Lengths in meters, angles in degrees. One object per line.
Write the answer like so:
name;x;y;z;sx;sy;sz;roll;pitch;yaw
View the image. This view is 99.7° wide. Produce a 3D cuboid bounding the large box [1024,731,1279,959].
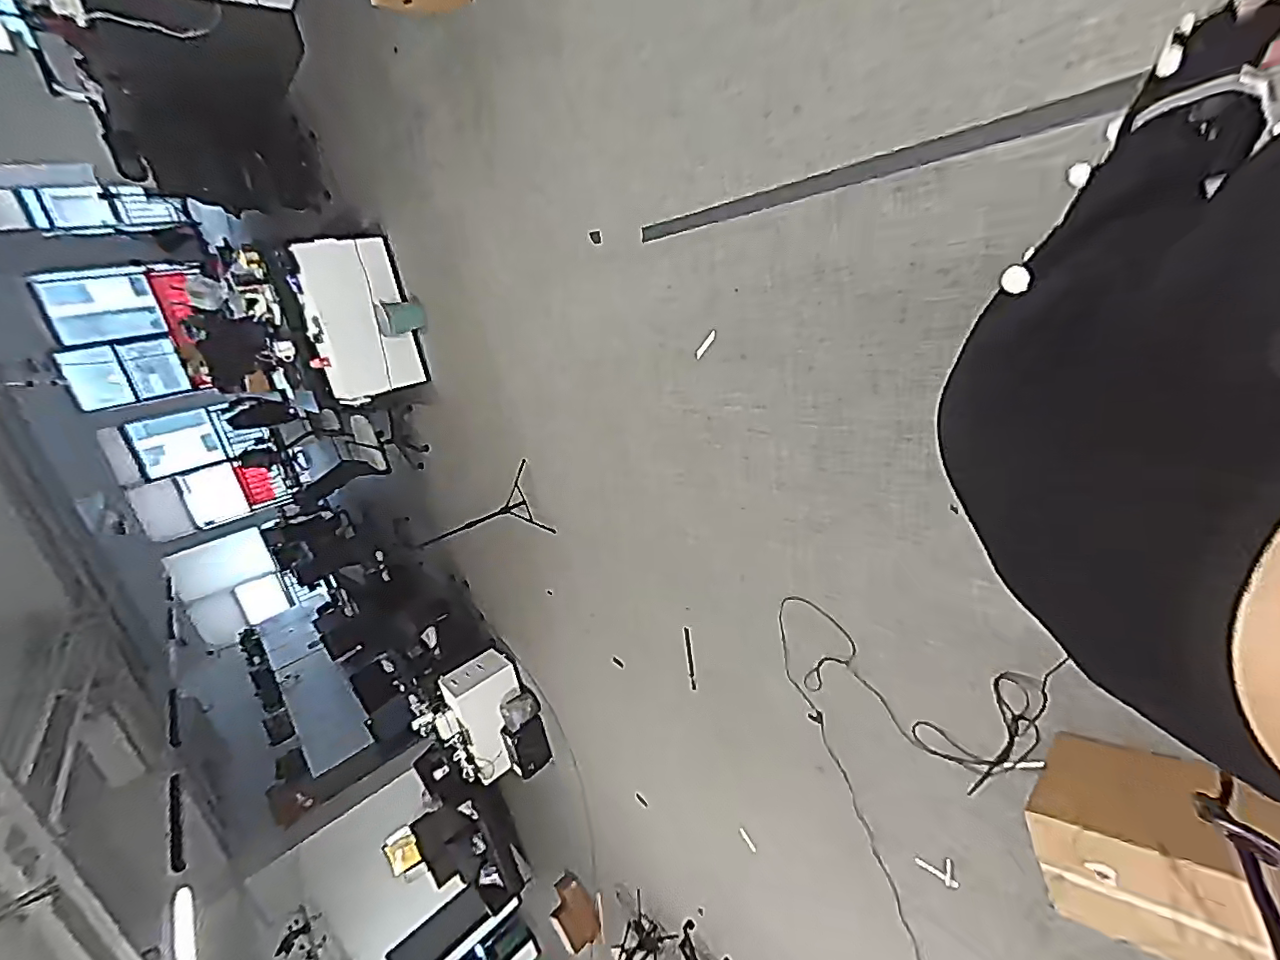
large box;1.234;0.867;1.291;0.408;0.320;0.320;-11;102;54
